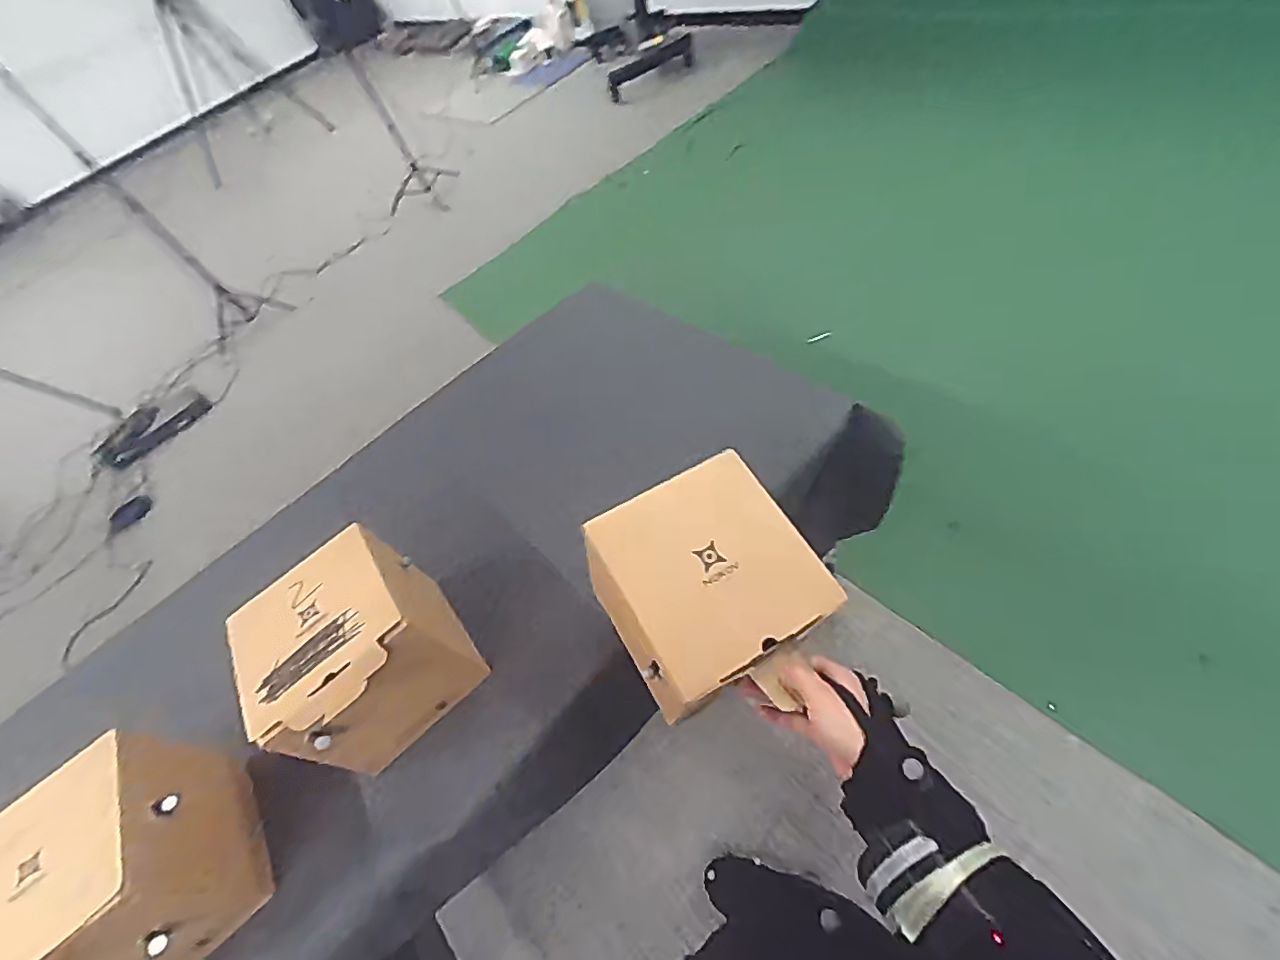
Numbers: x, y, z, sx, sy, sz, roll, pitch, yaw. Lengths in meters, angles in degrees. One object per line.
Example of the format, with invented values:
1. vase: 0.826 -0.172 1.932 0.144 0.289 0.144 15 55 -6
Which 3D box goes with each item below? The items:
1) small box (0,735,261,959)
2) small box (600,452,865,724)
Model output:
1. small box: -0.511 0.389 0.523 0.168 0.176 0.179 -40 51 -14
2. small box: 0.070 0.110 0.523 0.168 0.176 0.179 -24 64 -15
